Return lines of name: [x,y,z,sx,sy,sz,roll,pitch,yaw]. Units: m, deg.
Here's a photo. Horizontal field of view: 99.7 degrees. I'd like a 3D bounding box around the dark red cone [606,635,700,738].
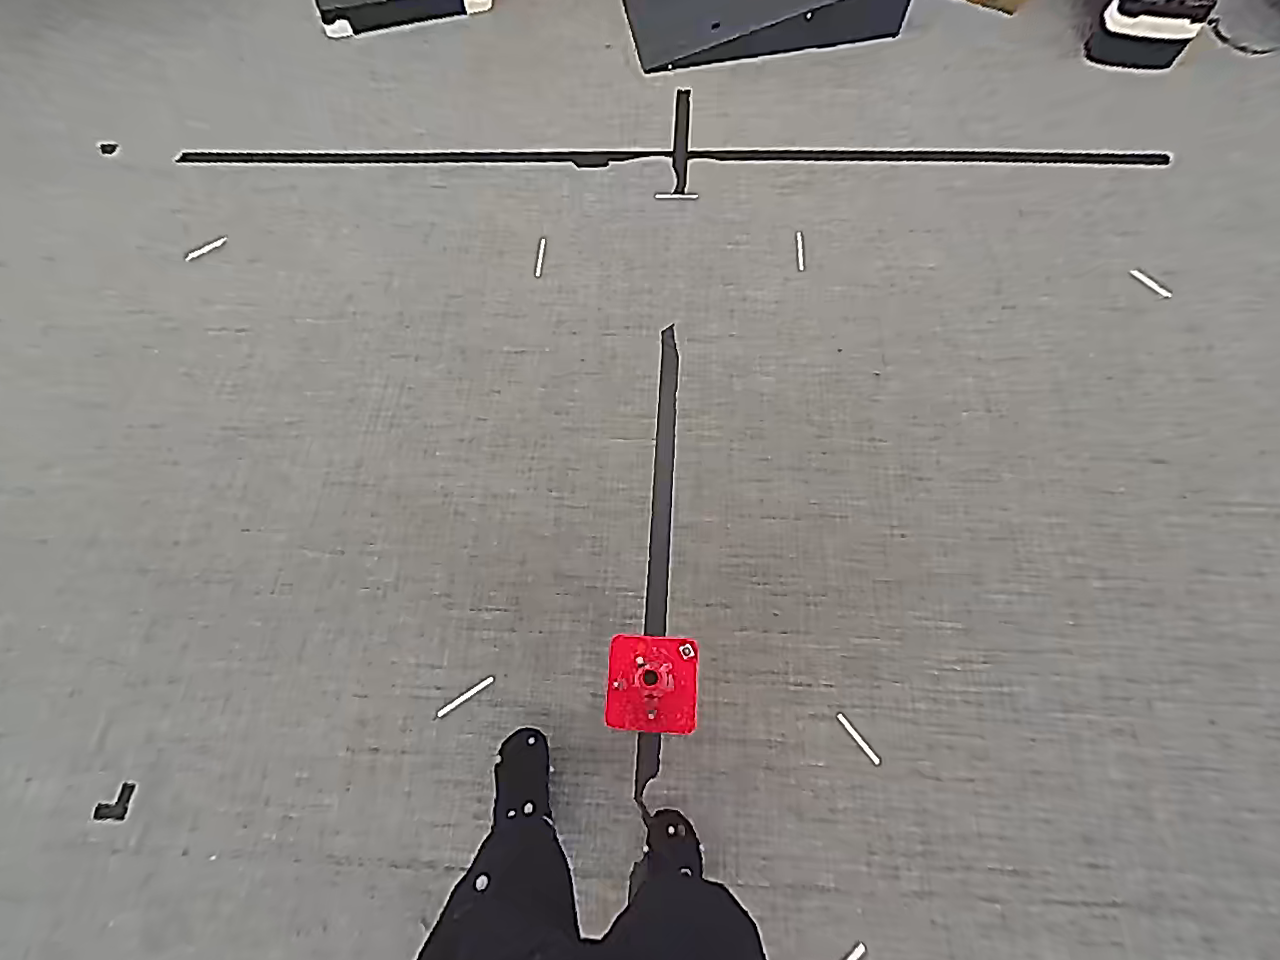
dark red cone: [0.022,0.383,1.017,0.201,0.394,0.202,2,68,3]
